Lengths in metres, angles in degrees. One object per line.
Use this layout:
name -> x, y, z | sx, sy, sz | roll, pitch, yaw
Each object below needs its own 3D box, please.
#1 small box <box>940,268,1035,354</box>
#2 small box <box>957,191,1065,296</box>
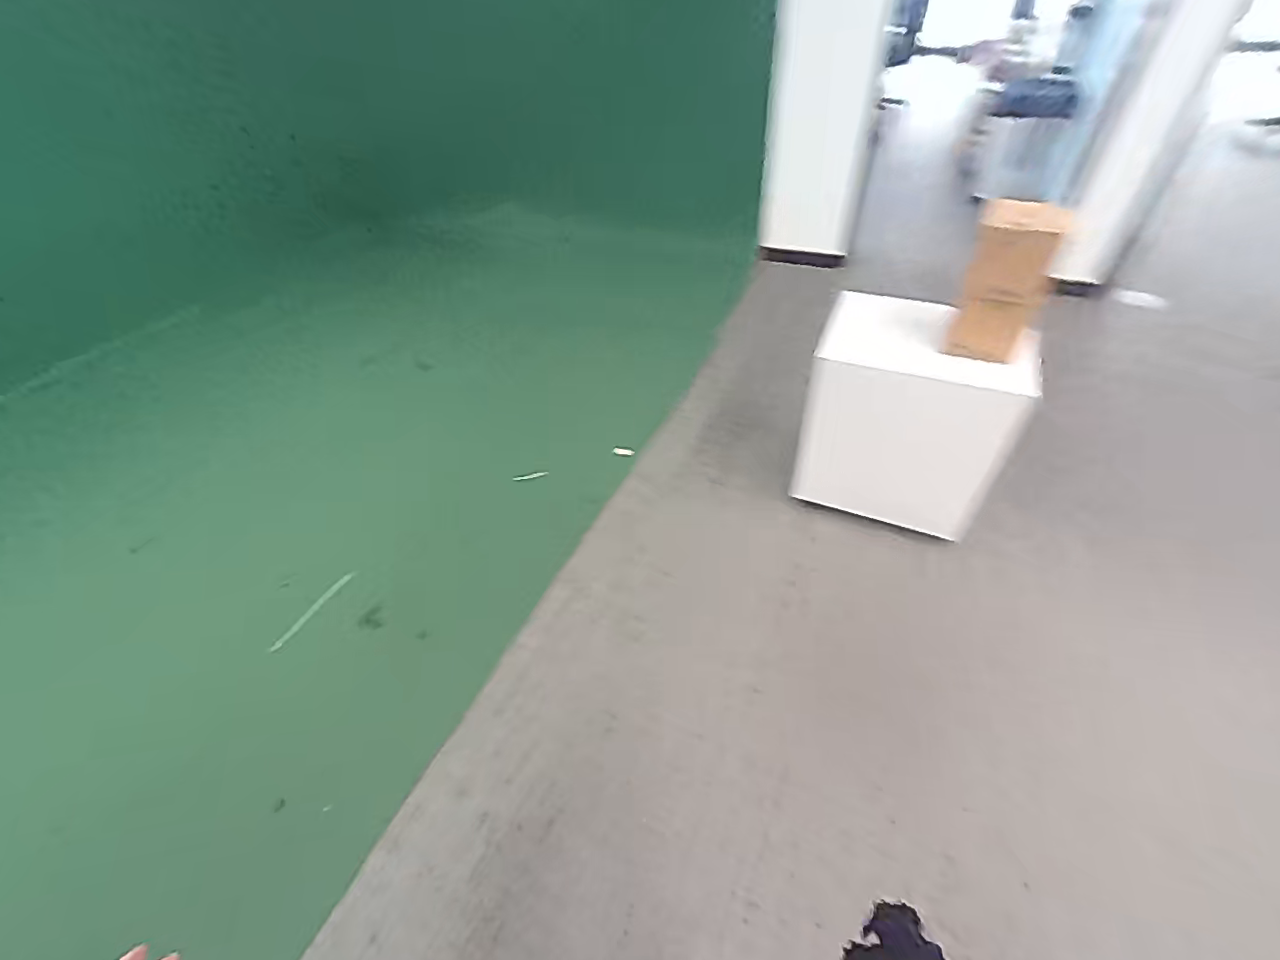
small box -> 0.890, -0.447, 1.394 | 0.168, 0.176, 0.179 | 15, 49, 21
small box -> 0.869, -0.560, 1.278 | 0.168, 0.176, 0.179 | 16, 49, 22
